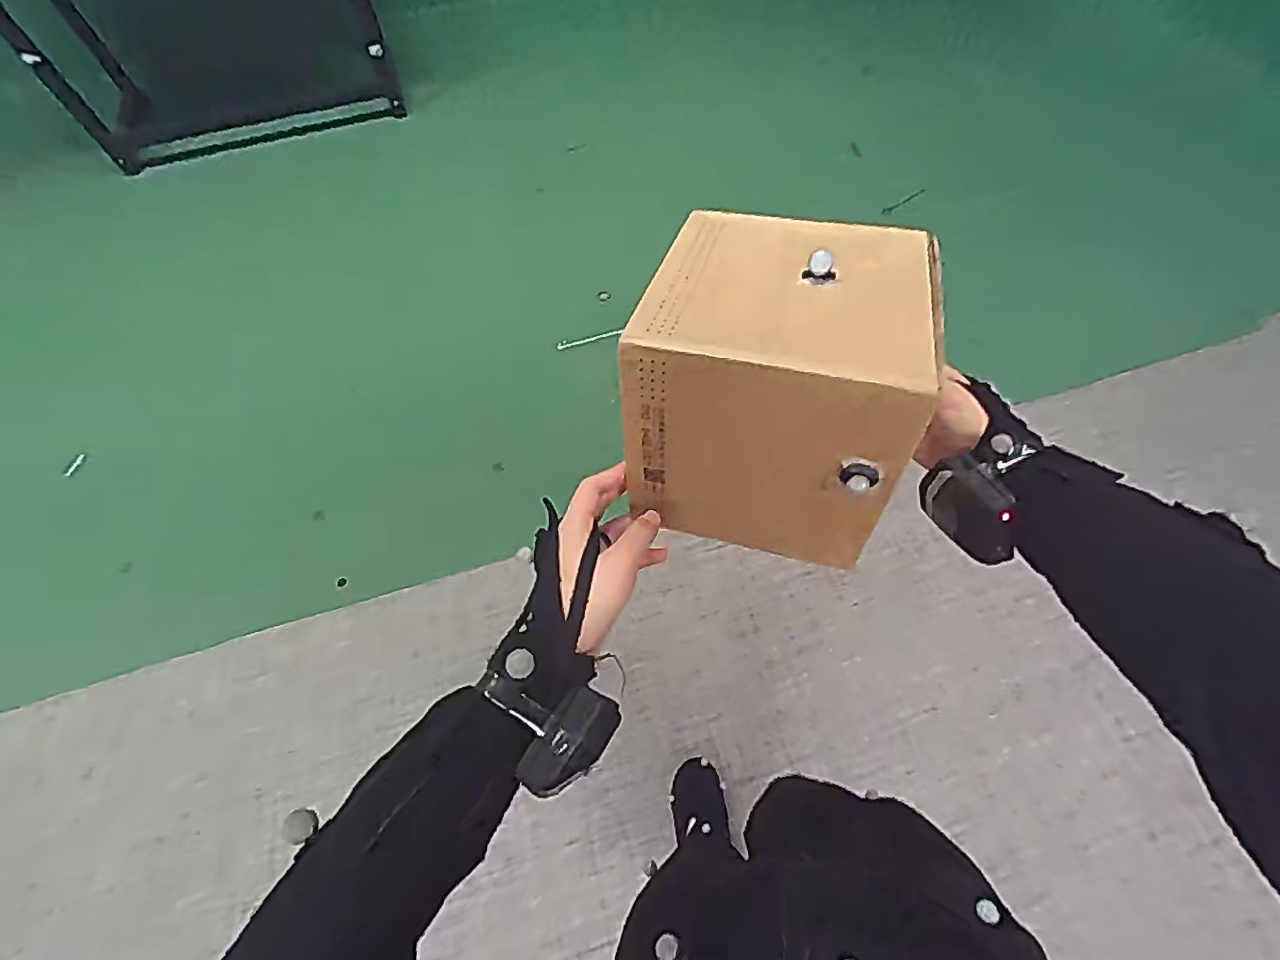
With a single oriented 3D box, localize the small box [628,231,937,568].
[{"bbox_3d":[0.093,-0.065,0.401,0.176,0.168,0.179,11,50,12],"label":"small box"}]
